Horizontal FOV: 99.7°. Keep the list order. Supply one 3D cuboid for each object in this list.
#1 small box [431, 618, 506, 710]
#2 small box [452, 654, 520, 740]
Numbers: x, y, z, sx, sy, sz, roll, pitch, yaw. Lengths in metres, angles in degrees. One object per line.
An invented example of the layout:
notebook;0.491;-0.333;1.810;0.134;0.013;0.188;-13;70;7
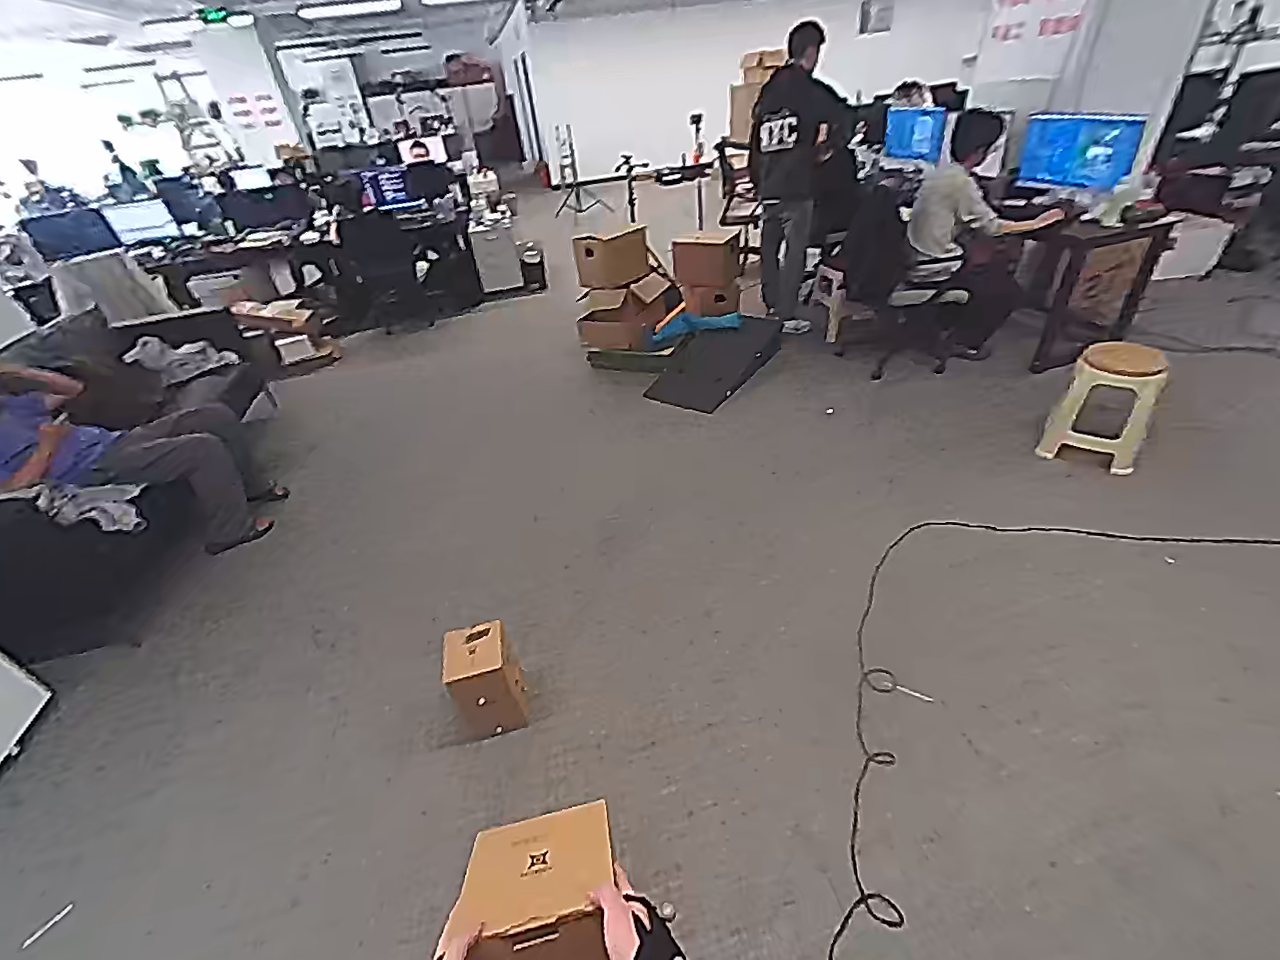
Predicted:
small box;-0.496;0.539;1.588;0.168;0.176;0.179;-12;37;-5
small box;-0.482;0.685;1.703;0.179;0.176;0.168;-14;38;-10
